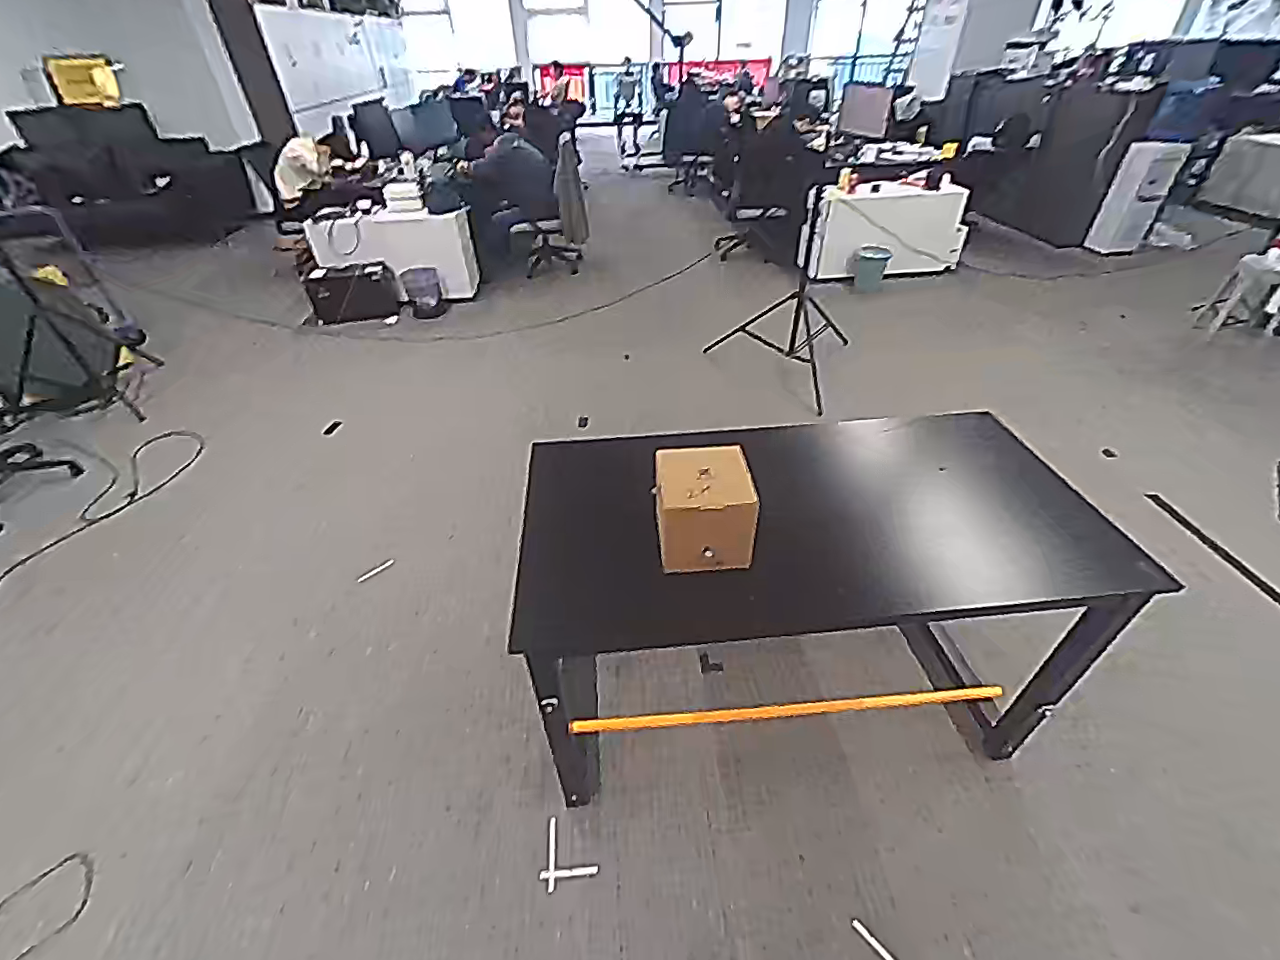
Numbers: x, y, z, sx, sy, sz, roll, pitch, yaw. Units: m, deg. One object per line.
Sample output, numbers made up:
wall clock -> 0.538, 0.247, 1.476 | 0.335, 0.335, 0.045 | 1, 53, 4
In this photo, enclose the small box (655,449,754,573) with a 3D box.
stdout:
small box -> 0.116, 0.059, 1.053 | 0.168, 0.176, 0.179 | -4, 39, -1
